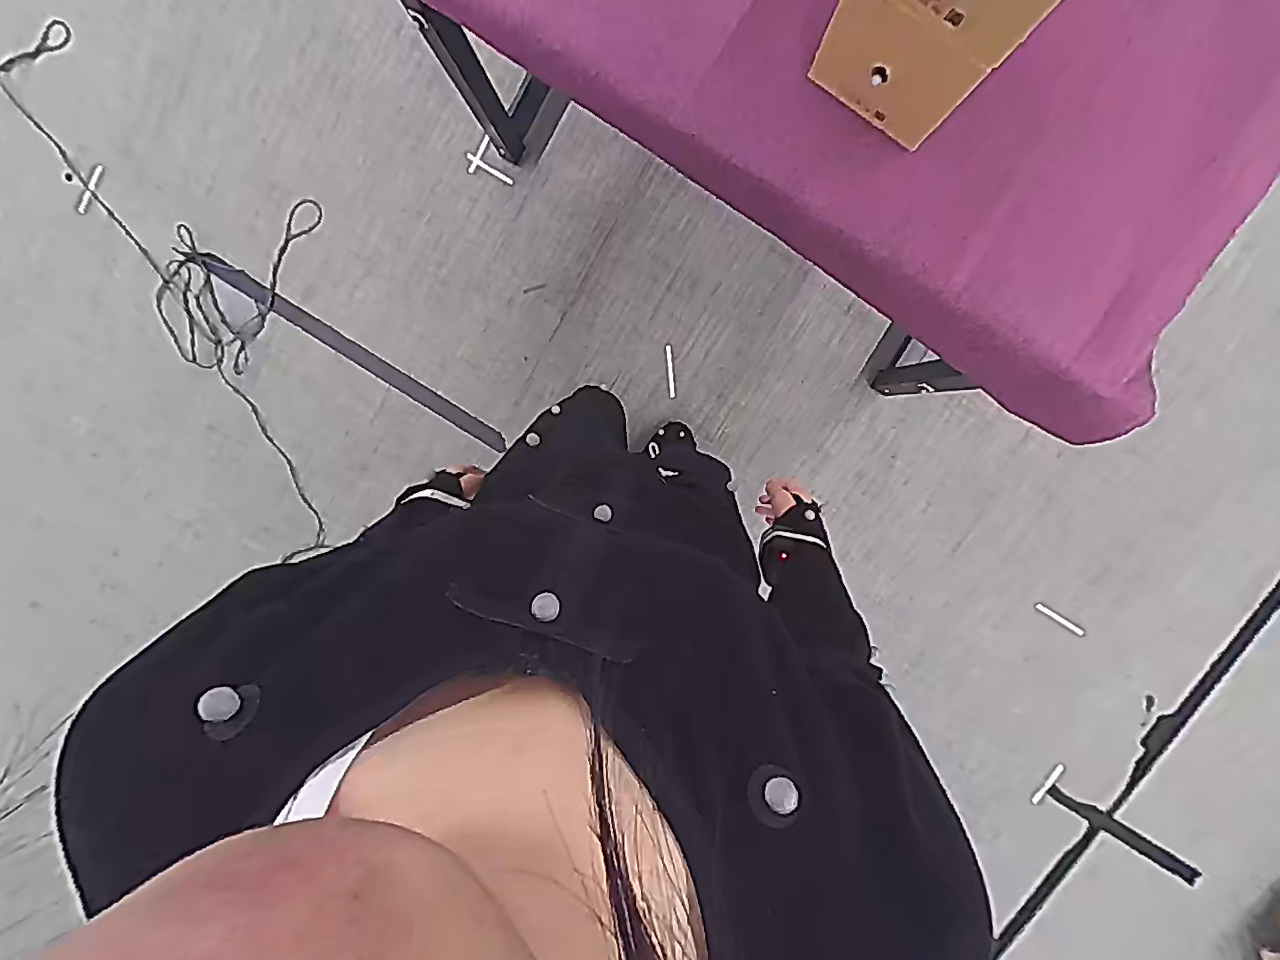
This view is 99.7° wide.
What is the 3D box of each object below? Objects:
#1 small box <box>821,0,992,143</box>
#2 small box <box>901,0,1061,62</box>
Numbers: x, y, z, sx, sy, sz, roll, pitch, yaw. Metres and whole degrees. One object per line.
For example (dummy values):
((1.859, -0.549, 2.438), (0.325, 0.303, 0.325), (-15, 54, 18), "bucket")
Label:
((0.322, -0.521, 0.591), (0.168, 0.176, 0.179), (35, 97, -3), "small box")
((0.321, -0.501, 0.428), (0.168, 0.176, 0.179), (34, 98, -2), "small box")
